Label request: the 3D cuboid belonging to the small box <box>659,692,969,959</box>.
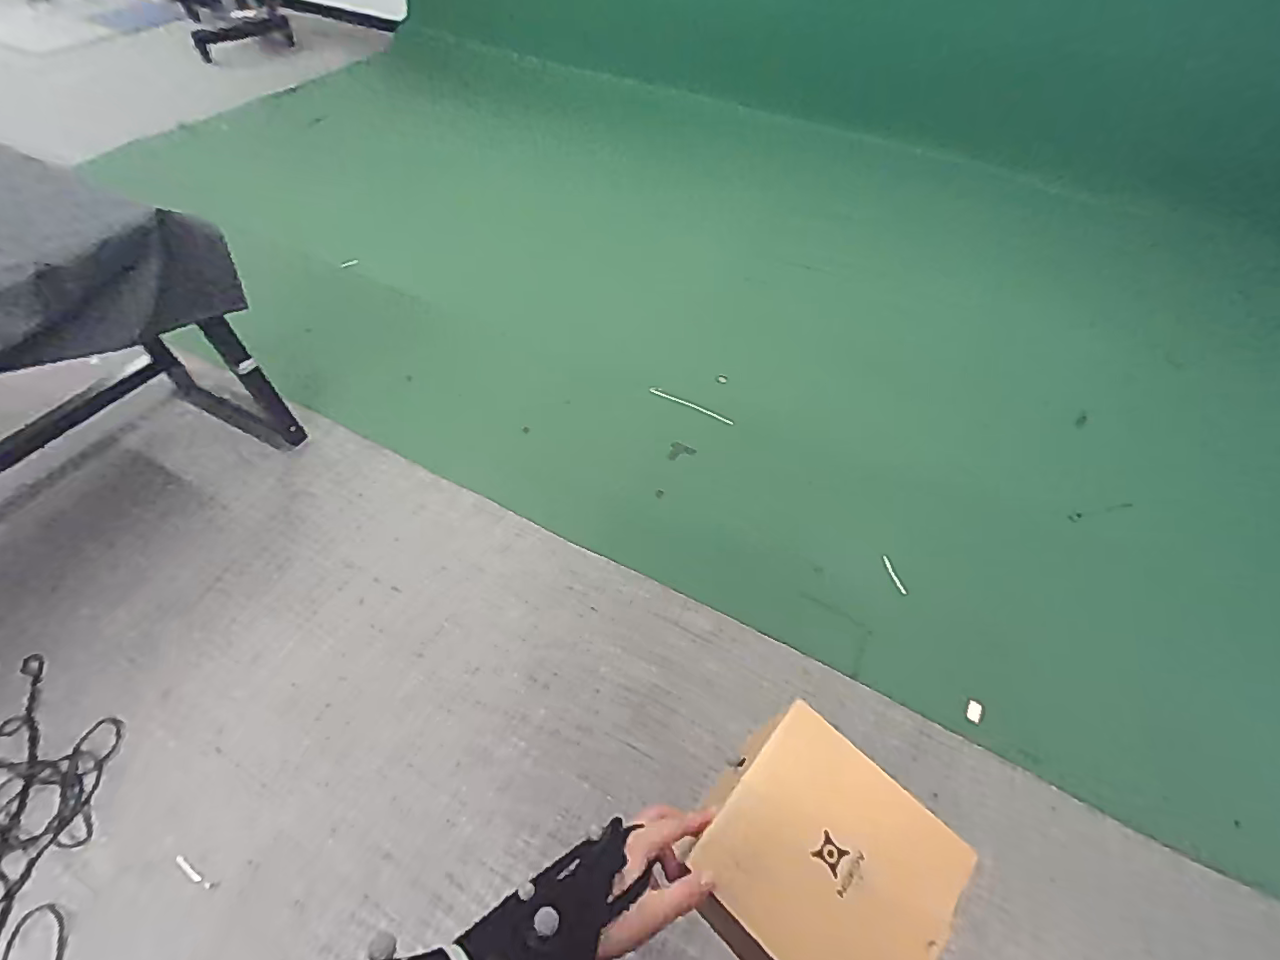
[{"bbox_3d":[0.136,0.330,0.480,0.179,0.176,0.168,38,58,18],"label":"small box"}]
